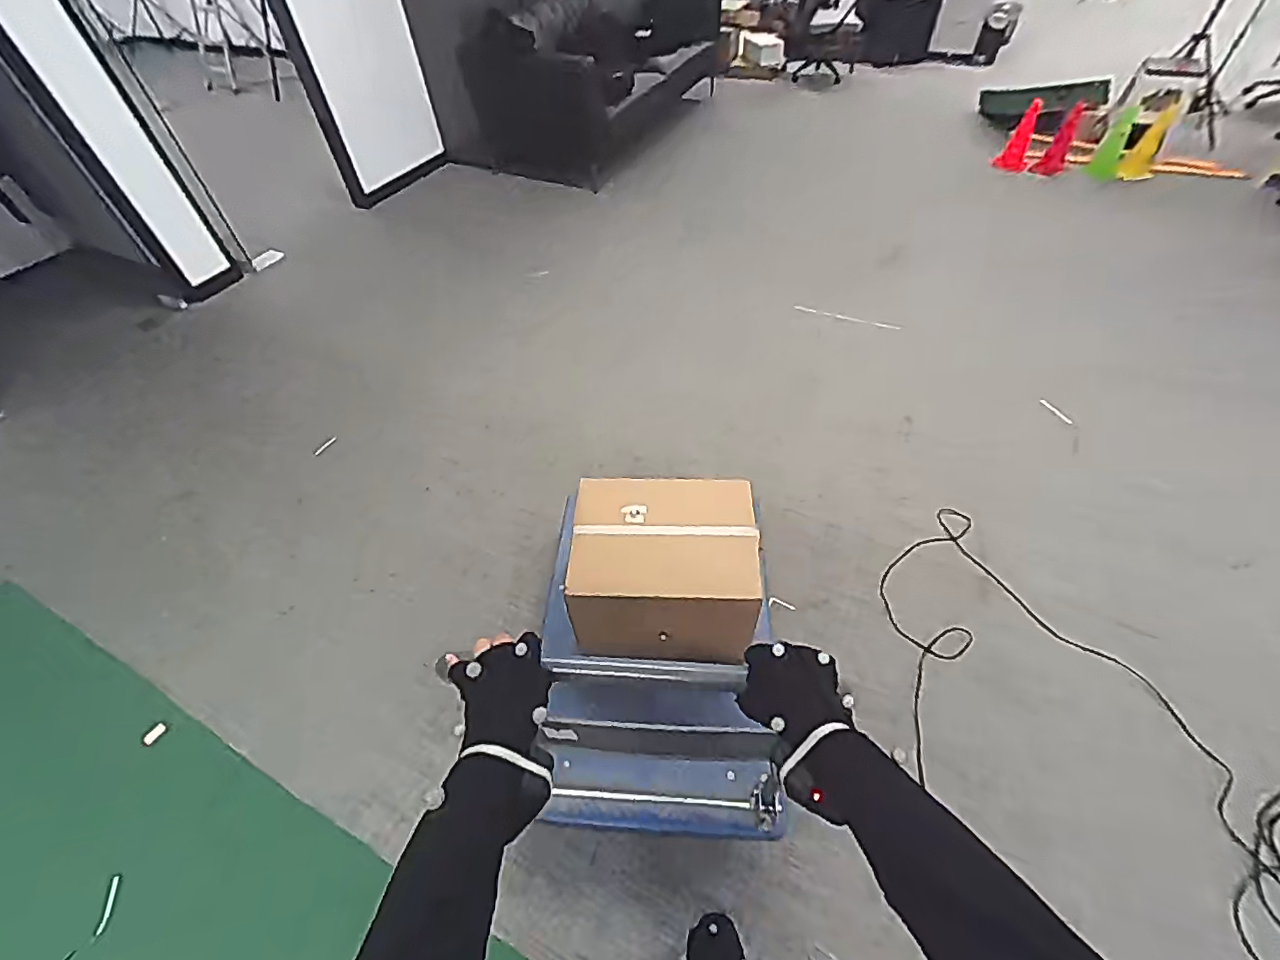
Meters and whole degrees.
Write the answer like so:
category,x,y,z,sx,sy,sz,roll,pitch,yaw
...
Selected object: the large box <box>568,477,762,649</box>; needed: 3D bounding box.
category,x,y,z,sx,sy,sz,roll,pitch,yaw
large box,0.061,0.206,1.307,0.408,0.320,0.320,0,50,4
